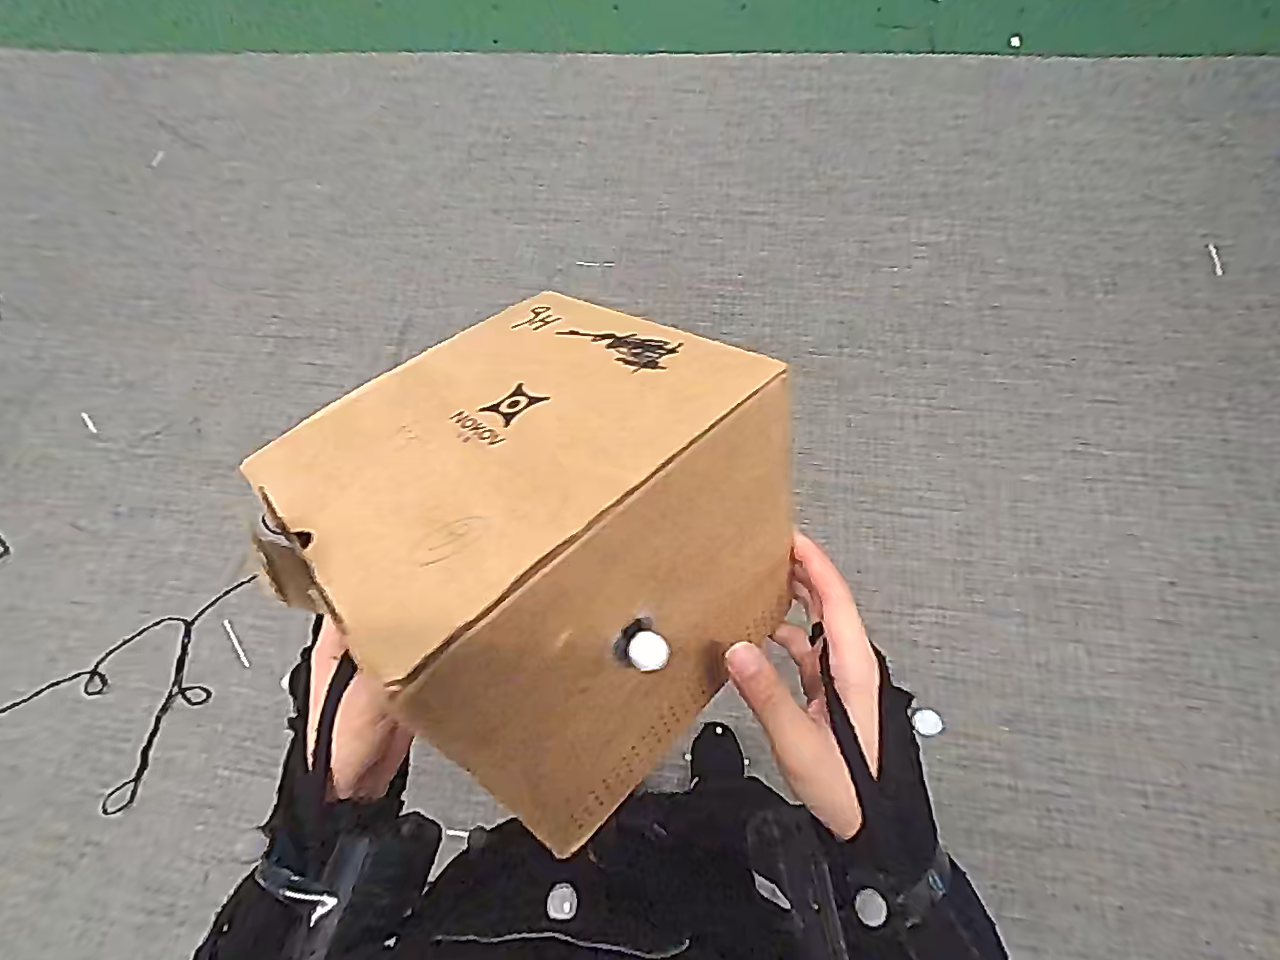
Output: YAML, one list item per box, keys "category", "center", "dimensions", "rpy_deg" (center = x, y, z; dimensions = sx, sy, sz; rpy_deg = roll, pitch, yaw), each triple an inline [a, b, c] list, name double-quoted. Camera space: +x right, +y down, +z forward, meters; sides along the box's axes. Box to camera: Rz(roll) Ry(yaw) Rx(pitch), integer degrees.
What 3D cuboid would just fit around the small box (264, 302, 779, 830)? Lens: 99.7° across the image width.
- category: "small box"
  center: [-0.040, 0.037, 0.283]
  dimensions: [0.179, 0.176, 0.168]
  rpy_deg: [-40, 48, -24]
